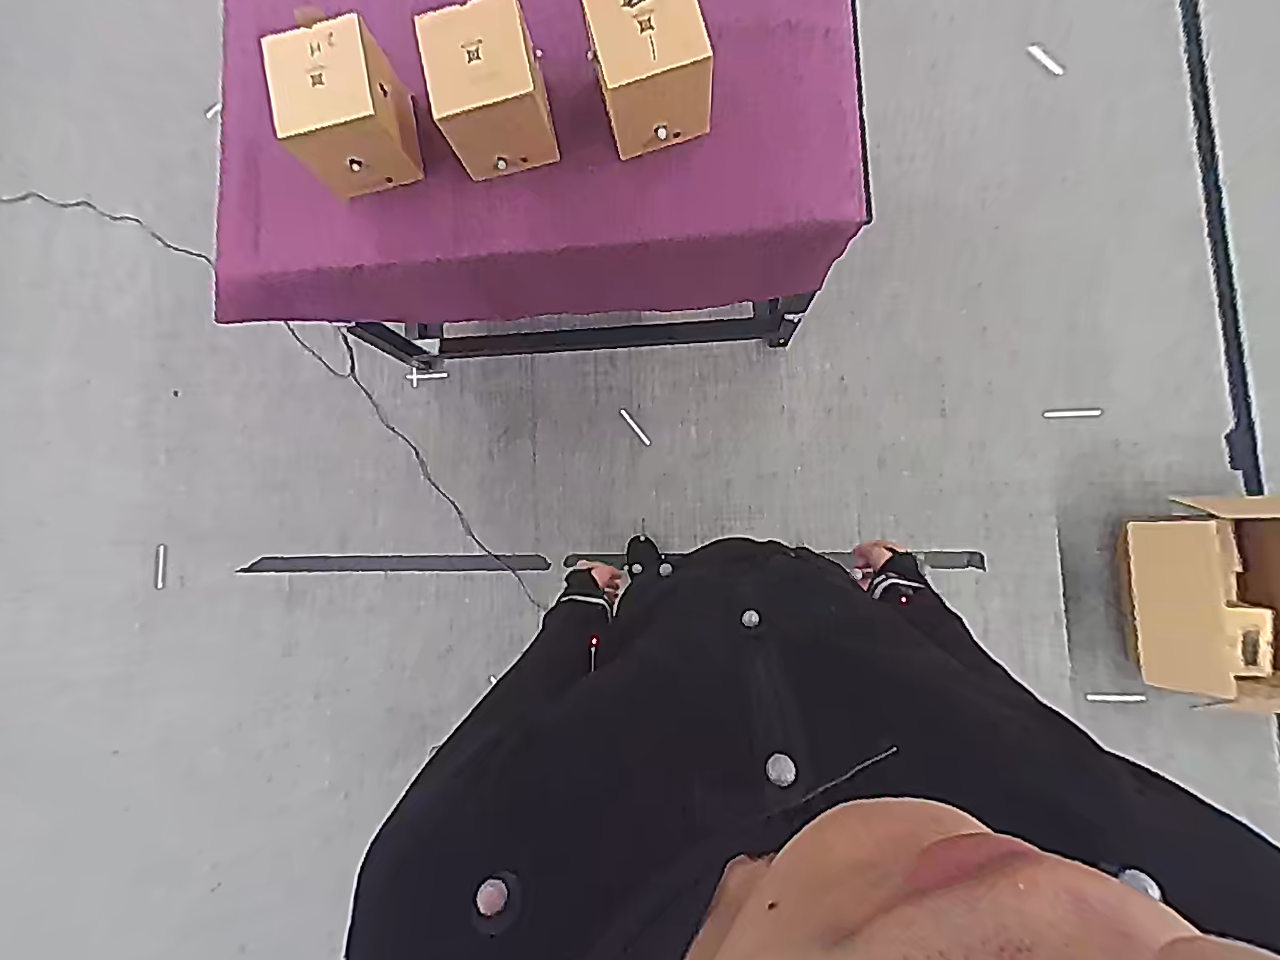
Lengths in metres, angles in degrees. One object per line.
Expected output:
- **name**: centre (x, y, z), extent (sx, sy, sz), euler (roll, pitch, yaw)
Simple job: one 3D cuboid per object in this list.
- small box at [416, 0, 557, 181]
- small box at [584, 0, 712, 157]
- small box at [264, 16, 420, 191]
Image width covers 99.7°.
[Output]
- **small box**: centre (-0.250, -0.651, 0.913), extent (0.168, 0.176, 0.179), euler (-12, 85, 5)
- **small box**: centre (0.014, -0.683, 0.890), extent (0.168, 0.176, 0.179), euler (-15, 86, 4)
- **small box**: centre (-0.501, -0.630, 0.932), extent (0.168, 0.176, 0.179), euler (-11, 85, 4)
